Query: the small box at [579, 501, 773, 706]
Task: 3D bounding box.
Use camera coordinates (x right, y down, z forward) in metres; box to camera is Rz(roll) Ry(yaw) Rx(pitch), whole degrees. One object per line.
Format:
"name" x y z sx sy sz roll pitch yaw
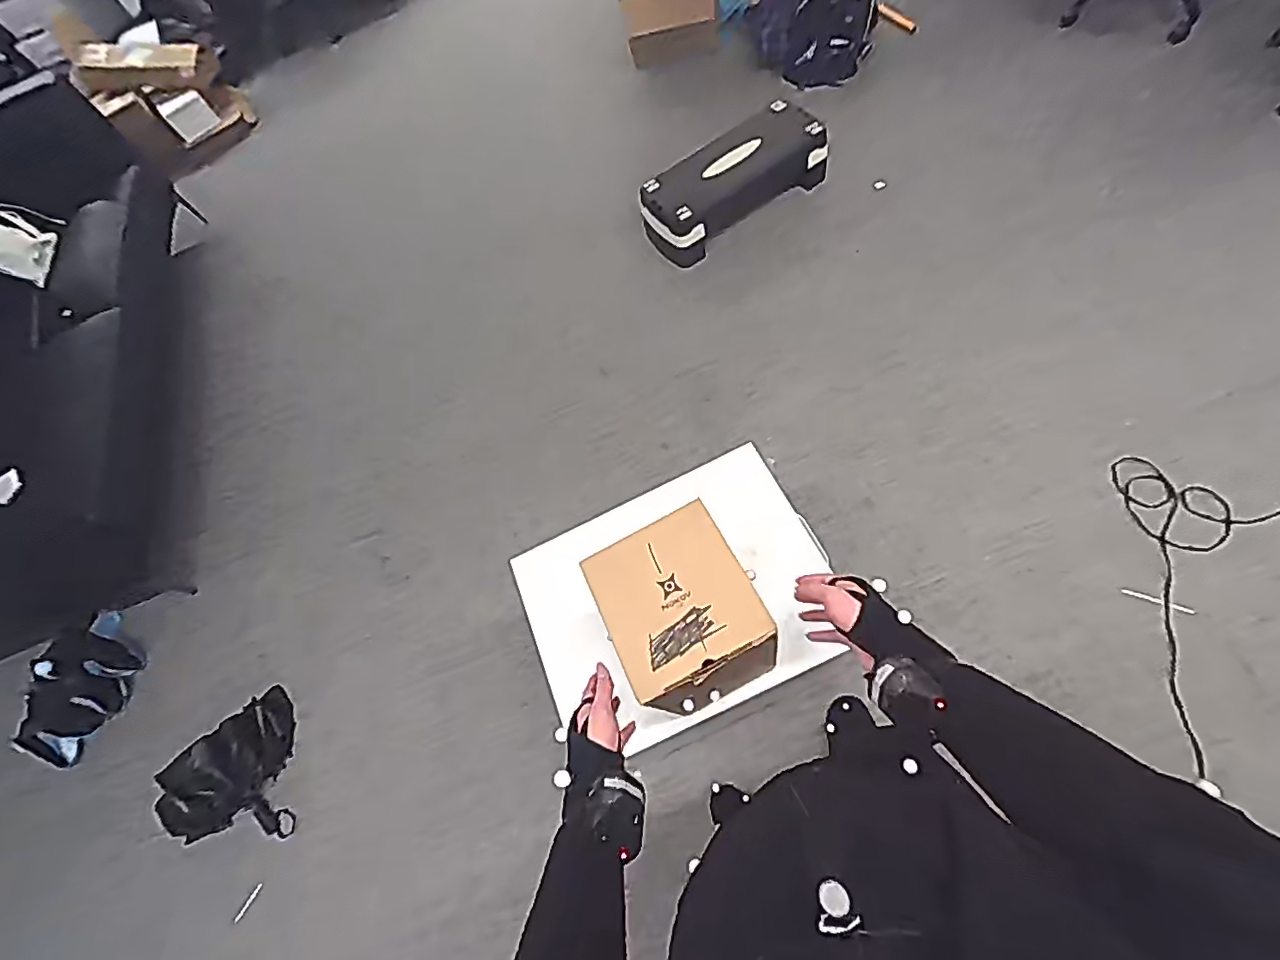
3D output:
"small box" 0.052 0.160 0.668 0.168 0.176 0.179 -29 61 -1

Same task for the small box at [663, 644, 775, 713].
"small box" 0.086 0.231 0.814 0.168 0.176 0.179 -29 62 -1
